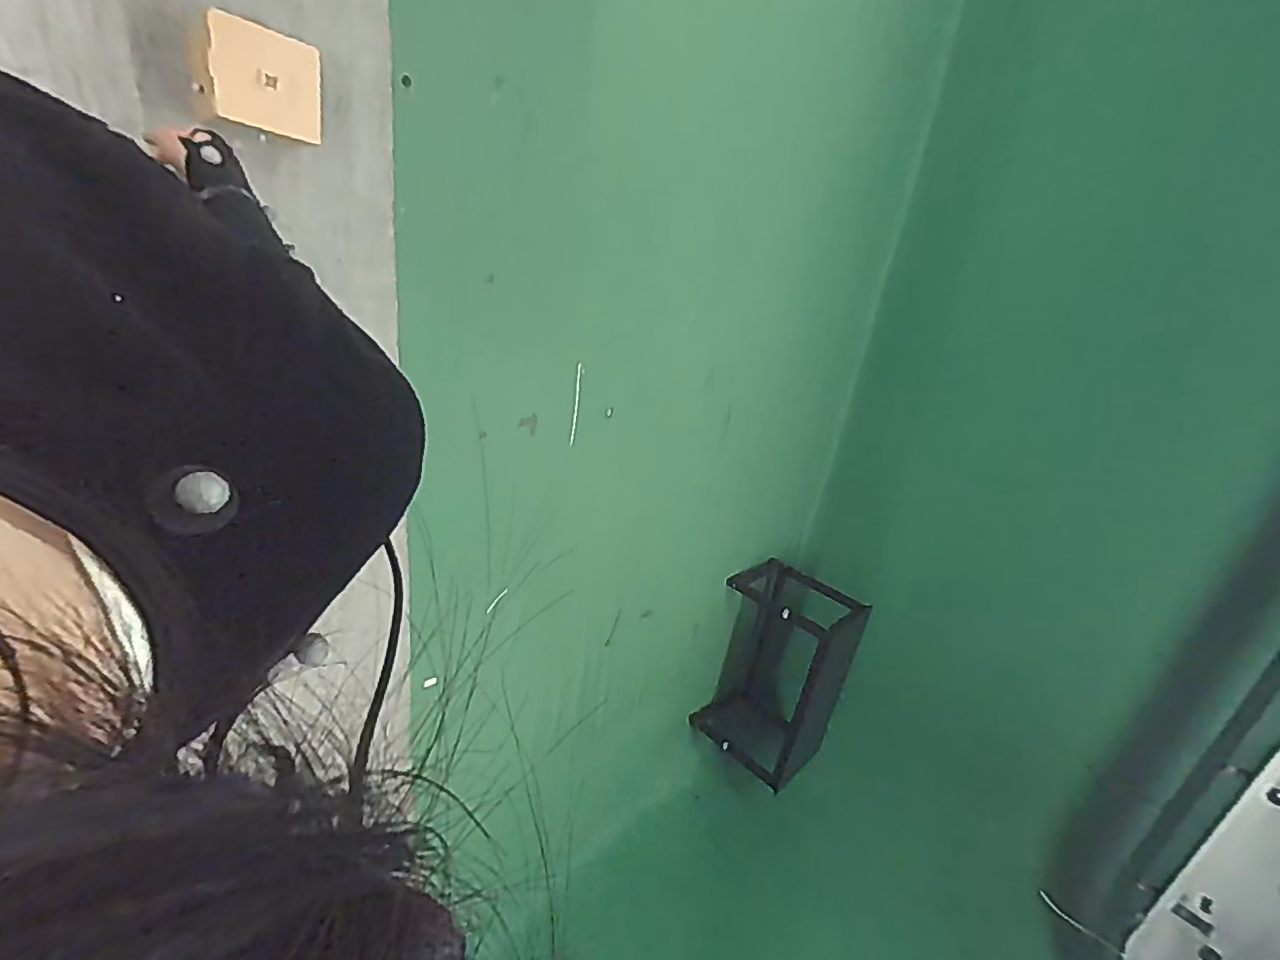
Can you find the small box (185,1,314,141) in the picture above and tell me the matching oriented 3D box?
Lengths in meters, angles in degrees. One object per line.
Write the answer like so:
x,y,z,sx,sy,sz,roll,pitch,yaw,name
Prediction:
-0.754,-0.771,1.044,0.179,0.176,0.168,-10,119,-47,small box
